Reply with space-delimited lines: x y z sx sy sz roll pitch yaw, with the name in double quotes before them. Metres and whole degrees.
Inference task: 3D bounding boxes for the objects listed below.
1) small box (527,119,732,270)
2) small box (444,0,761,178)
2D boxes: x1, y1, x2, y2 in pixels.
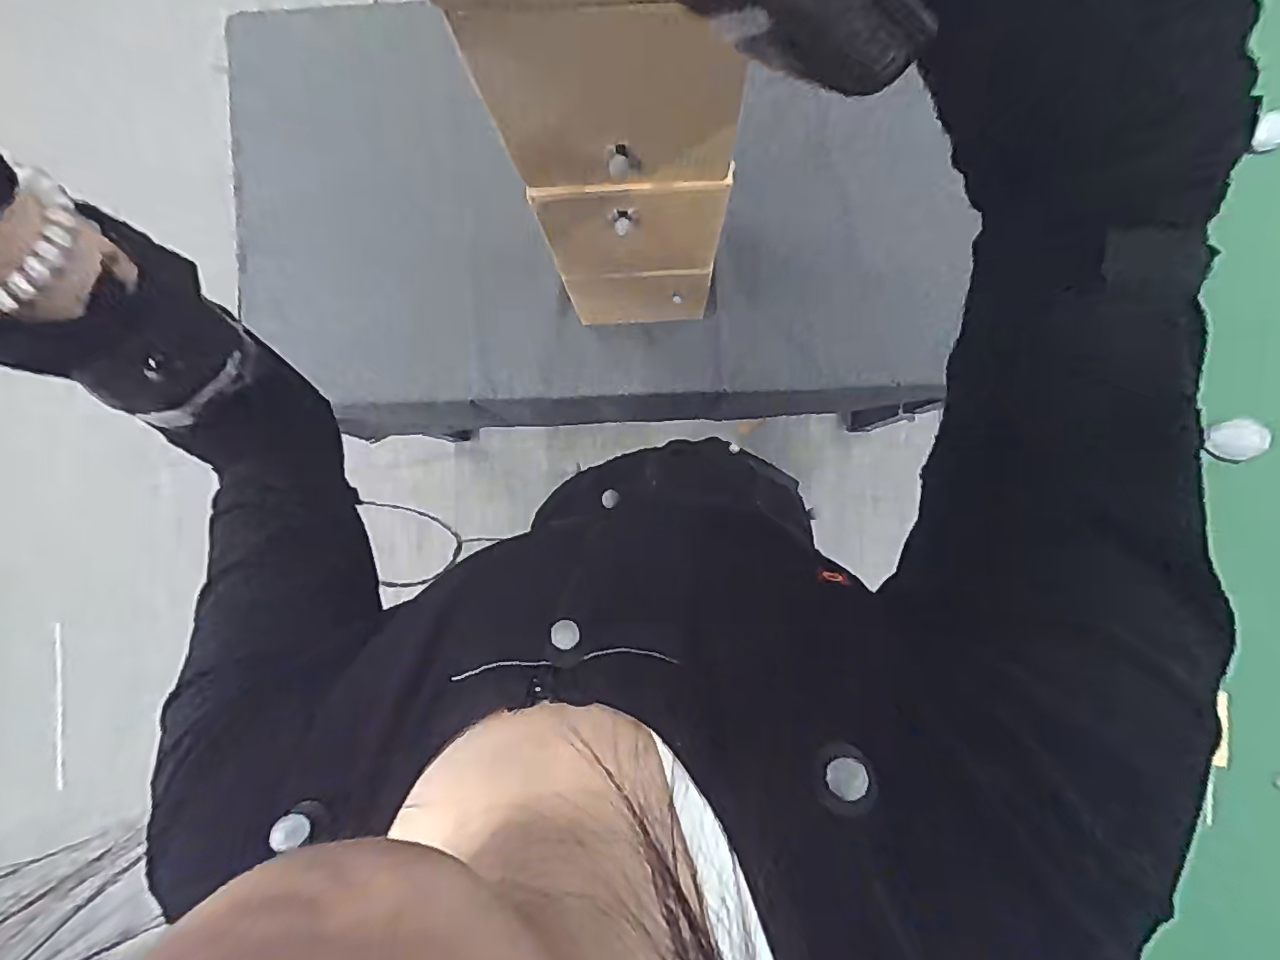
"small box" -0.009 -0.326 0.539 0.179 0.176 0.168 -3 88 3
"small box" -0.019 -0.336 0.376 0.179 0.176 0.168 0 88 2
